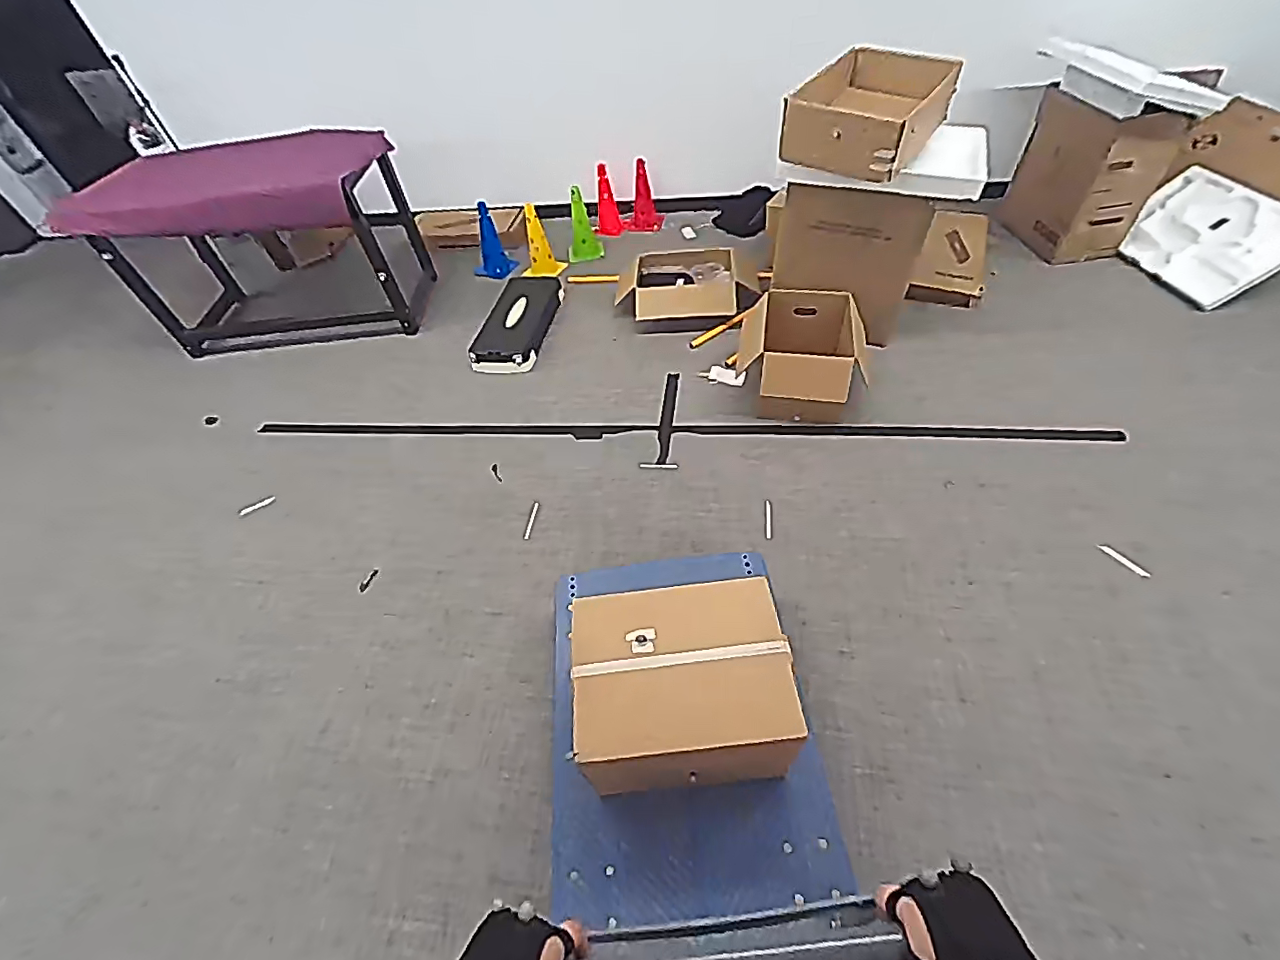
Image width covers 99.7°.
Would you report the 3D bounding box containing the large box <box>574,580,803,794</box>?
[{"bbox_3d":[0.091,0.446,1.150,0.408,0.320,0.320,-8,49,1],"label":"large box"}]
